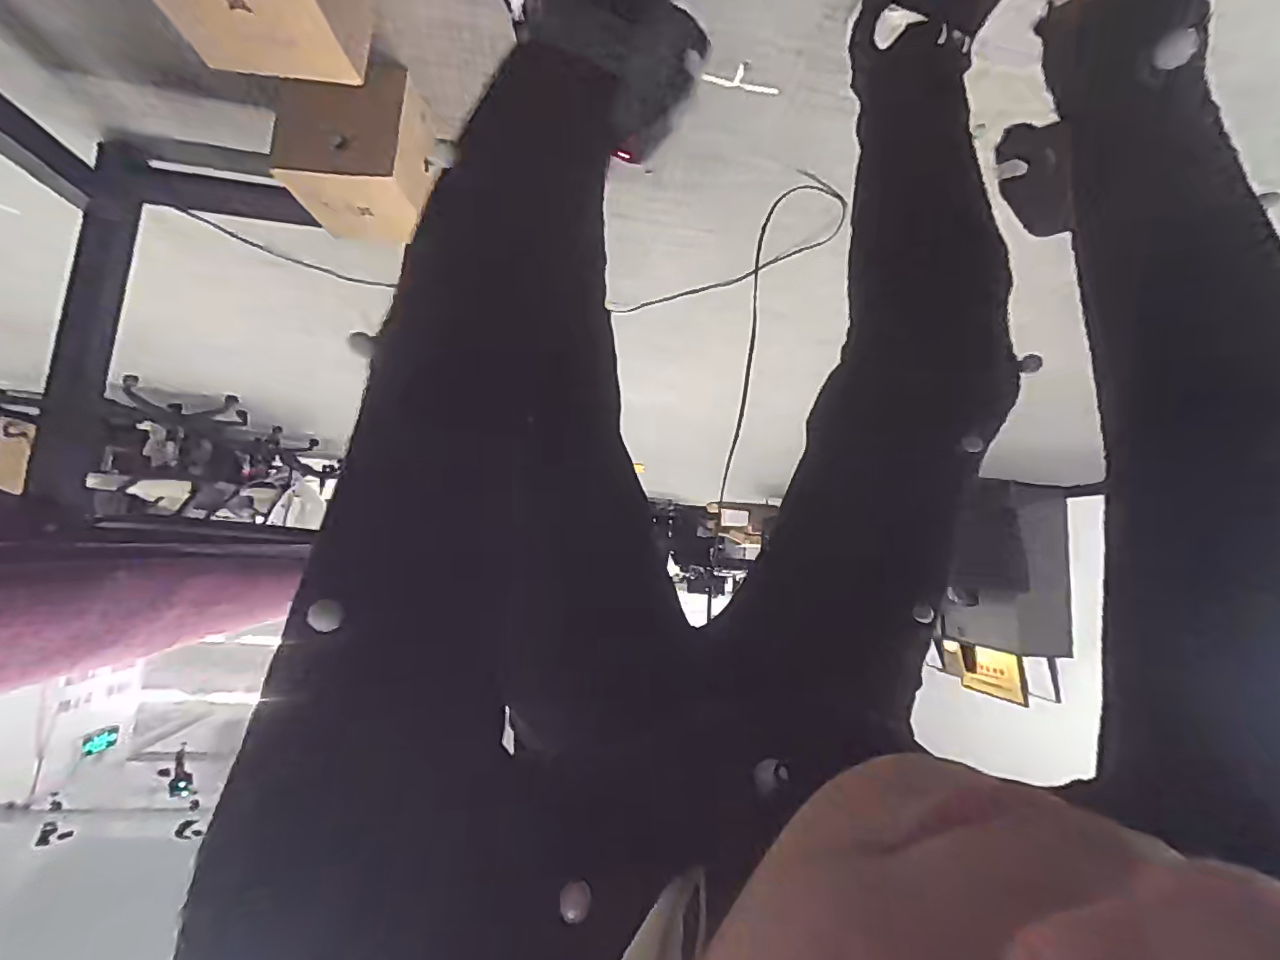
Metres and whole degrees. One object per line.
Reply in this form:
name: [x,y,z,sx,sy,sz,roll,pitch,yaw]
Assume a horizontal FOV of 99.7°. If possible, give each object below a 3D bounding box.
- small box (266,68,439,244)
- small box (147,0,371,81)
small box: [-0.413,-0.479,0.808,0.179,0.176,0.168,4,172,-1]
small box: [-0.367,-0.522,0.497,0.168,0.176,0.179,5,172,-2]
